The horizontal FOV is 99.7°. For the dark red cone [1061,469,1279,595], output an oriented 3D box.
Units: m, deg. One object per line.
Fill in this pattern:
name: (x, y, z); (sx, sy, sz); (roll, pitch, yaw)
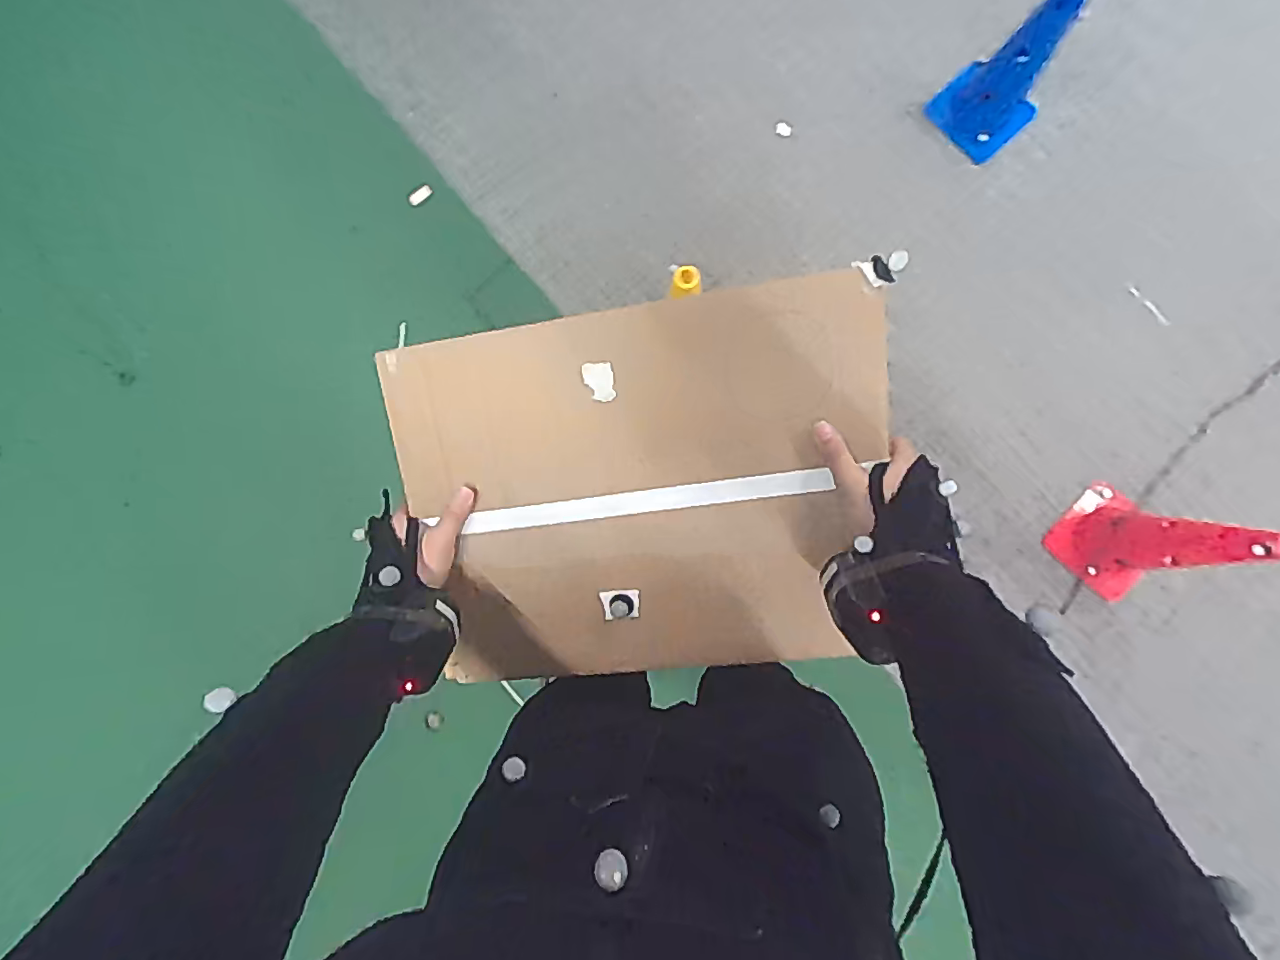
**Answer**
dark red cone: (0.993, 0.098, 0.958); (0.202, 0.394, 0.201); (41, 91, 6)

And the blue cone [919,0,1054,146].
blue cone: (0.765, -0.906, 1.101); (0.193, 0.380, 0.192); (-41, 84, -2)
